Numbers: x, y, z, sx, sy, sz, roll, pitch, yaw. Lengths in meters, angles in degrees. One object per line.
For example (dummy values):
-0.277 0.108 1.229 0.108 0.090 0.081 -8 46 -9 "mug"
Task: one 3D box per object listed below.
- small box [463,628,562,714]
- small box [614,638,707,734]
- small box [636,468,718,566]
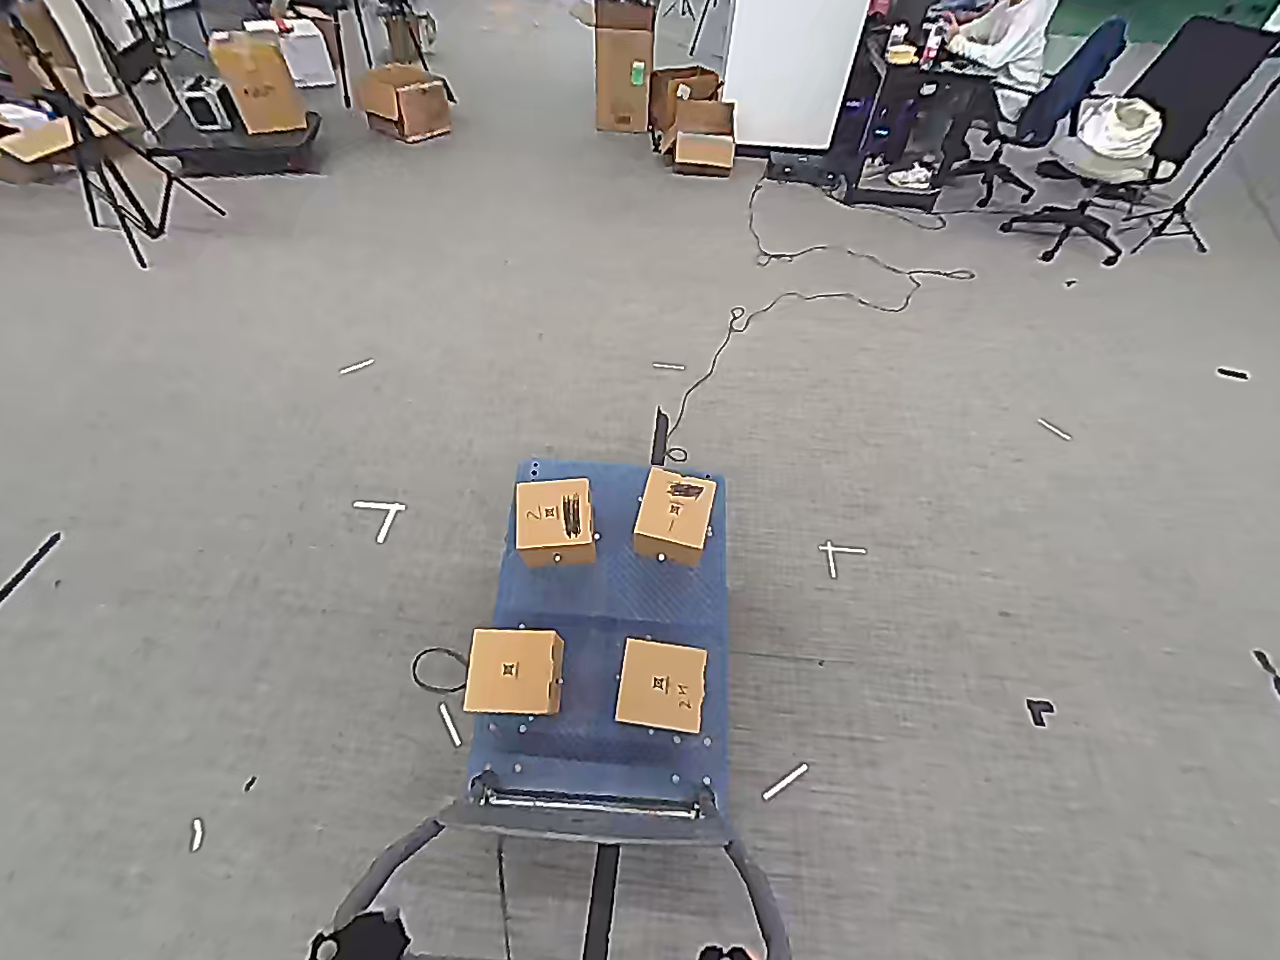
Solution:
-0.273 0.427 1.198 0.179 0.176 0.168 2 66 -2 "small box"
0.043 0.456 1.192 0.179 0.176 0.168 9 67 3 "small box"
0.086 0.097 1.351 0.168 0.176 0.179 14 68 5 "small box"
